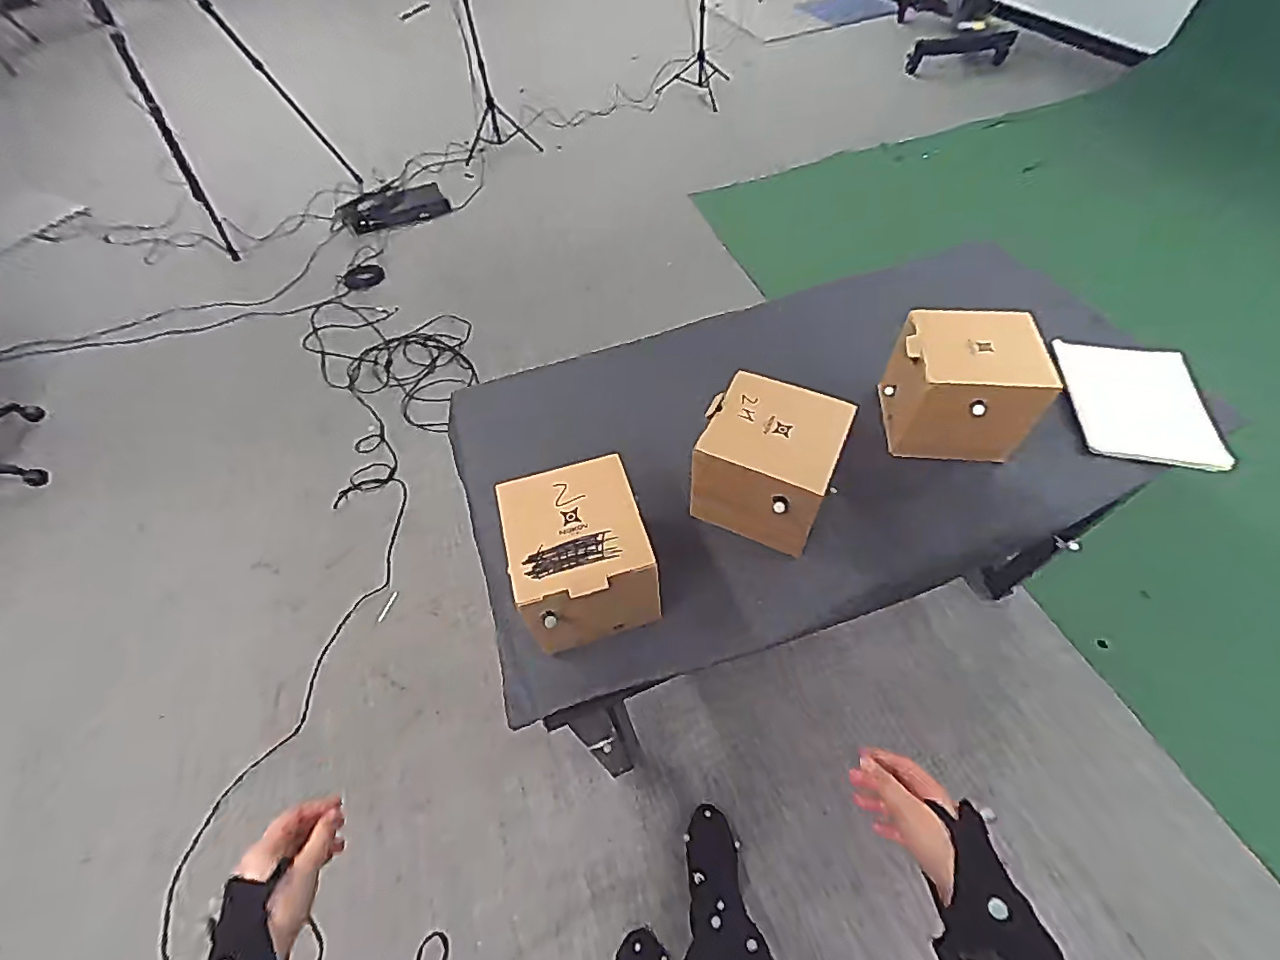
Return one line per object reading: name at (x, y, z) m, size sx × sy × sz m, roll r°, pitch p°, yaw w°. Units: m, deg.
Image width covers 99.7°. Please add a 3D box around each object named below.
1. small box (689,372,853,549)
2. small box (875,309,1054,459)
small box at (0.182, -0.022, 0.787) m, size 0.179 × 0.176 × 0.168 m, roll 21°, pitch 58°, yaw 18°
small box at (0.495, -0.148, 0.856) m, size 0.179 × 0.176 × 0.168 m, roll 4°, pitch 55°, yaw 7°
